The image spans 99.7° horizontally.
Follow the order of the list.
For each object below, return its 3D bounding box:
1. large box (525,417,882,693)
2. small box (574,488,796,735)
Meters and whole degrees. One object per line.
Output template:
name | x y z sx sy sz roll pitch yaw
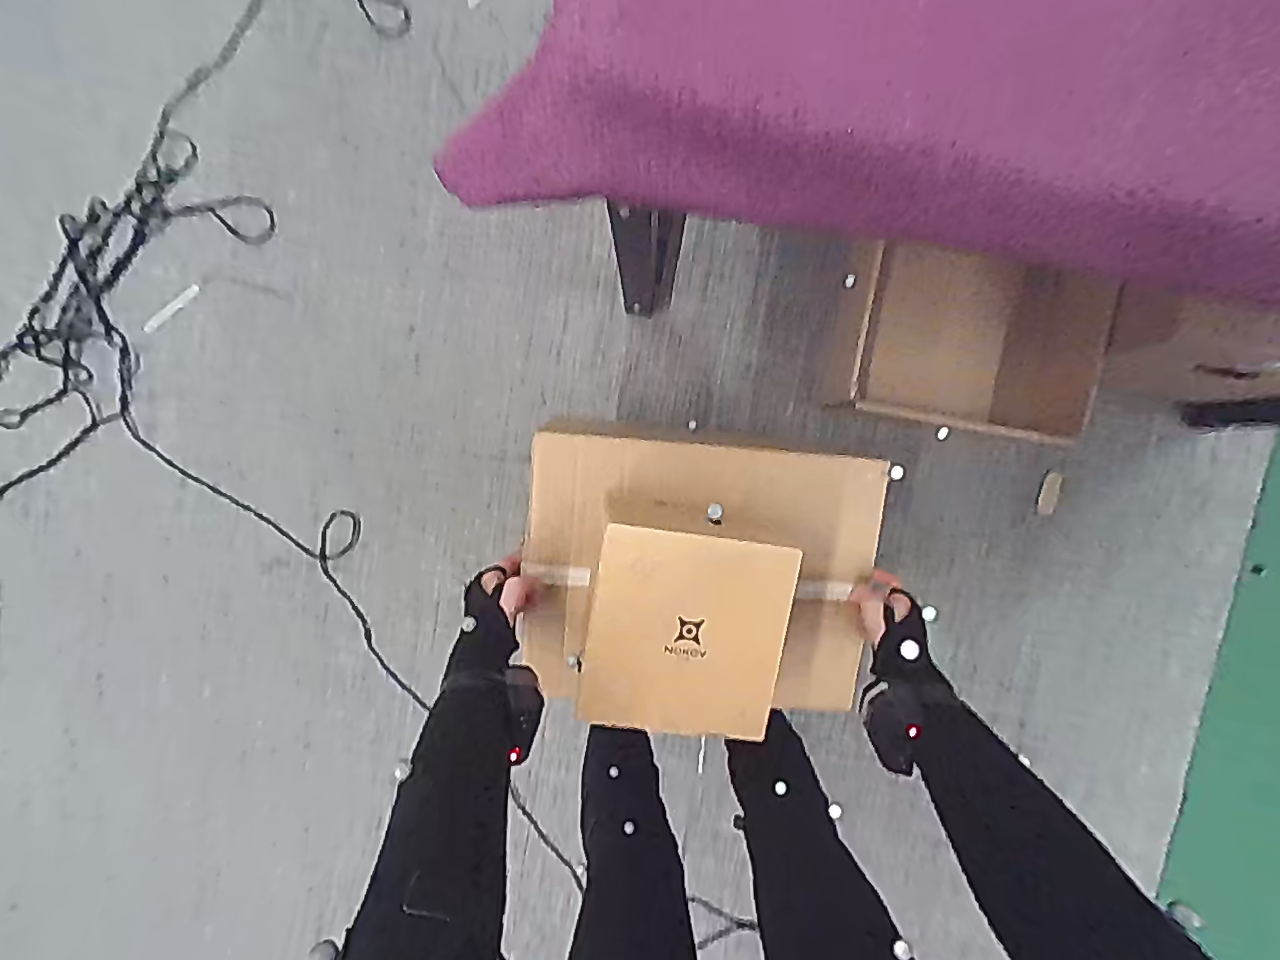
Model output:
large box | 0.058 0.078 0.769 0.408 0.320 0.320 4 100 -5
small box | 0.030 0.111 0.524 0.168 0.176 0.179 8 99 -5
